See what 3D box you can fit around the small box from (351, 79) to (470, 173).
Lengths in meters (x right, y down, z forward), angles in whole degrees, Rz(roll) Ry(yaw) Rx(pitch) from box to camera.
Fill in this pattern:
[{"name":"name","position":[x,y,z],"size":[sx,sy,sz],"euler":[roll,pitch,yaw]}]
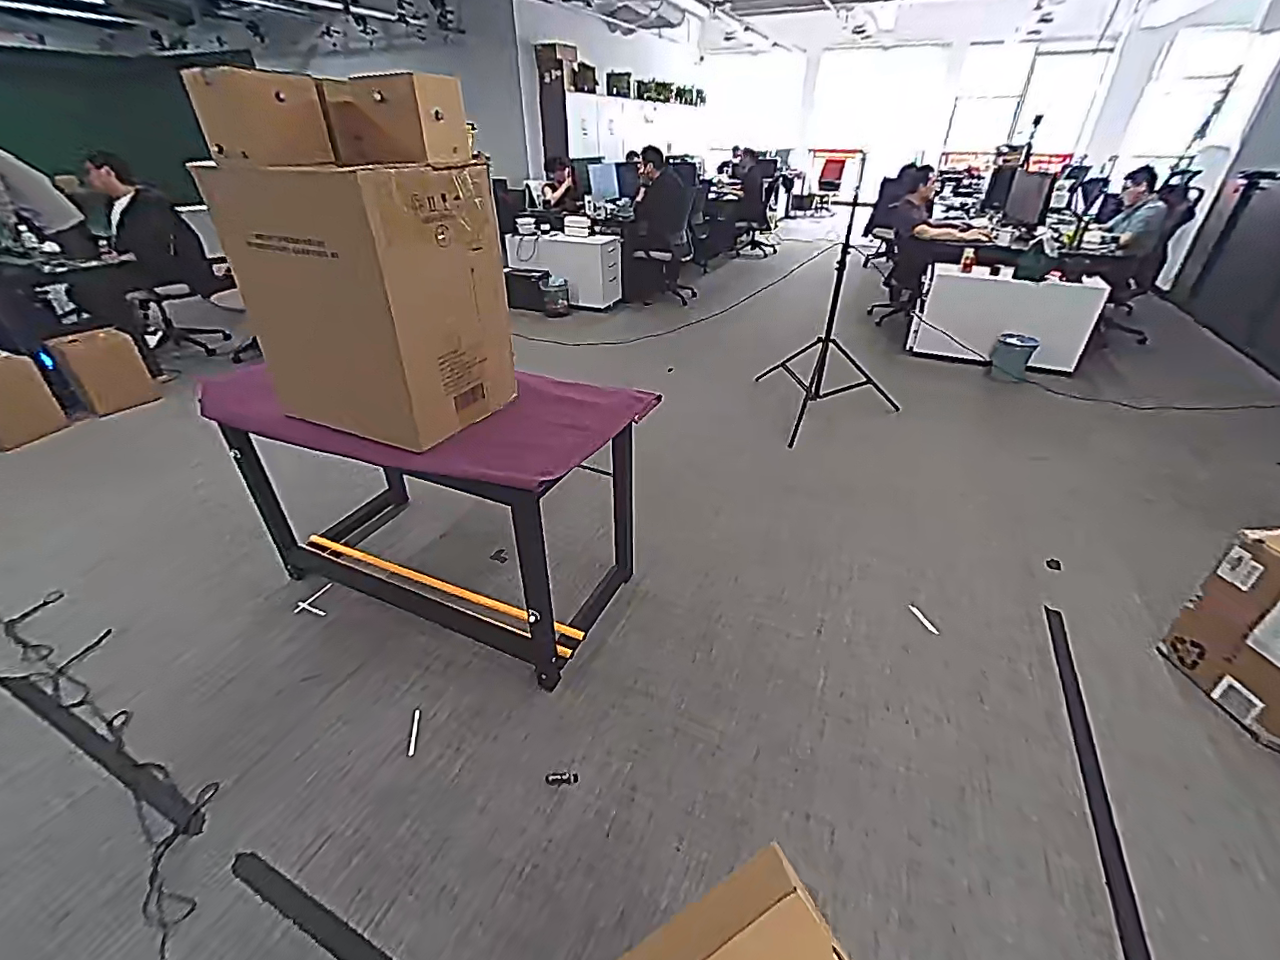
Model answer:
[{"name":"small box","position":[-0.519,-0.815,1.252],"size":[0.179,0.176,0.168],"euler":[10,34,18]}]
